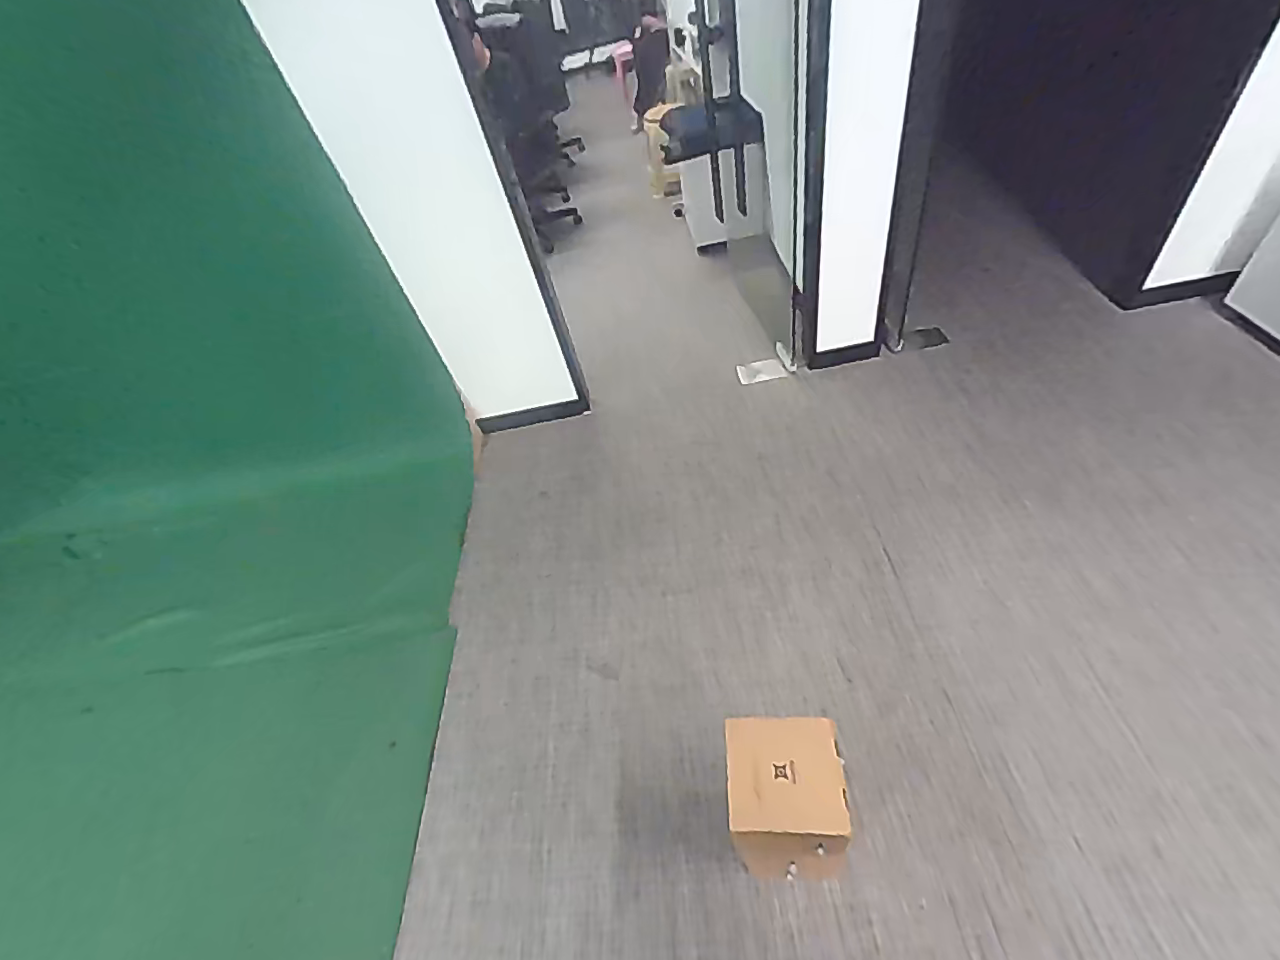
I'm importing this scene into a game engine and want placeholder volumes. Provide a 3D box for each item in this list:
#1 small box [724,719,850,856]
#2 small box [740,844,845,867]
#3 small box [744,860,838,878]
[{"bbox_3d":[0.237,0.511,0.898,0.179,0.176,0.168,-7,46,12],"label":"small box"},{"bbox_3d":[0.273,0.618,1.018,0.179,0.176,0.168,-8,48,10],"label":"small box"},{"bbox_3d":[0.307,0.723,1.135,0.179,0.176,0.168,-7,46,11],"label":"small box"}]
